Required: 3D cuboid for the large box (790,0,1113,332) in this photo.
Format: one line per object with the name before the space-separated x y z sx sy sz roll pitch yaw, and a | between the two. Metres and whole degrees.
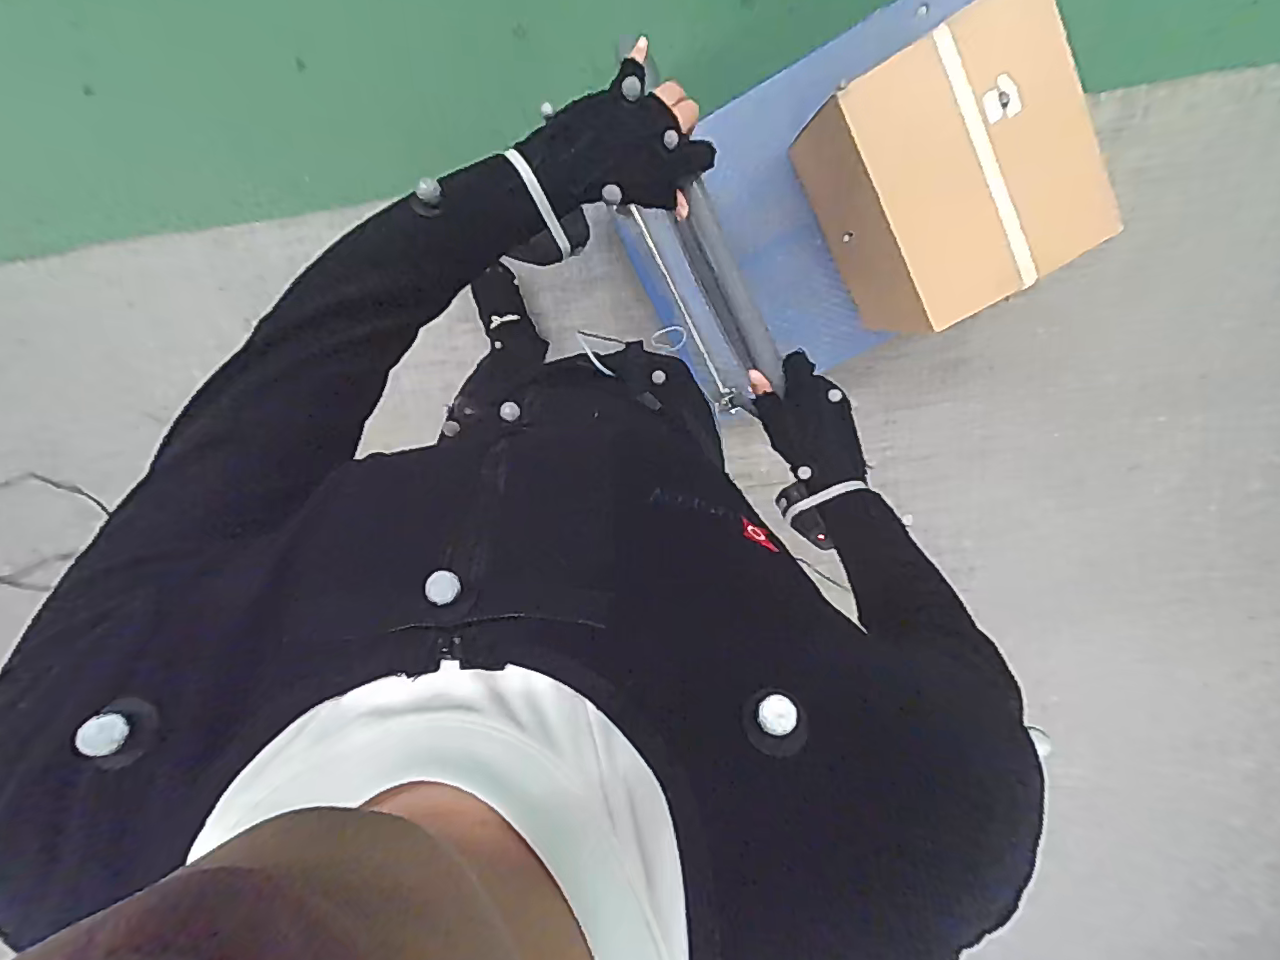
large box | 0.525 -0.524 0.979 0.320 0.320 0.408 -29 103 9
